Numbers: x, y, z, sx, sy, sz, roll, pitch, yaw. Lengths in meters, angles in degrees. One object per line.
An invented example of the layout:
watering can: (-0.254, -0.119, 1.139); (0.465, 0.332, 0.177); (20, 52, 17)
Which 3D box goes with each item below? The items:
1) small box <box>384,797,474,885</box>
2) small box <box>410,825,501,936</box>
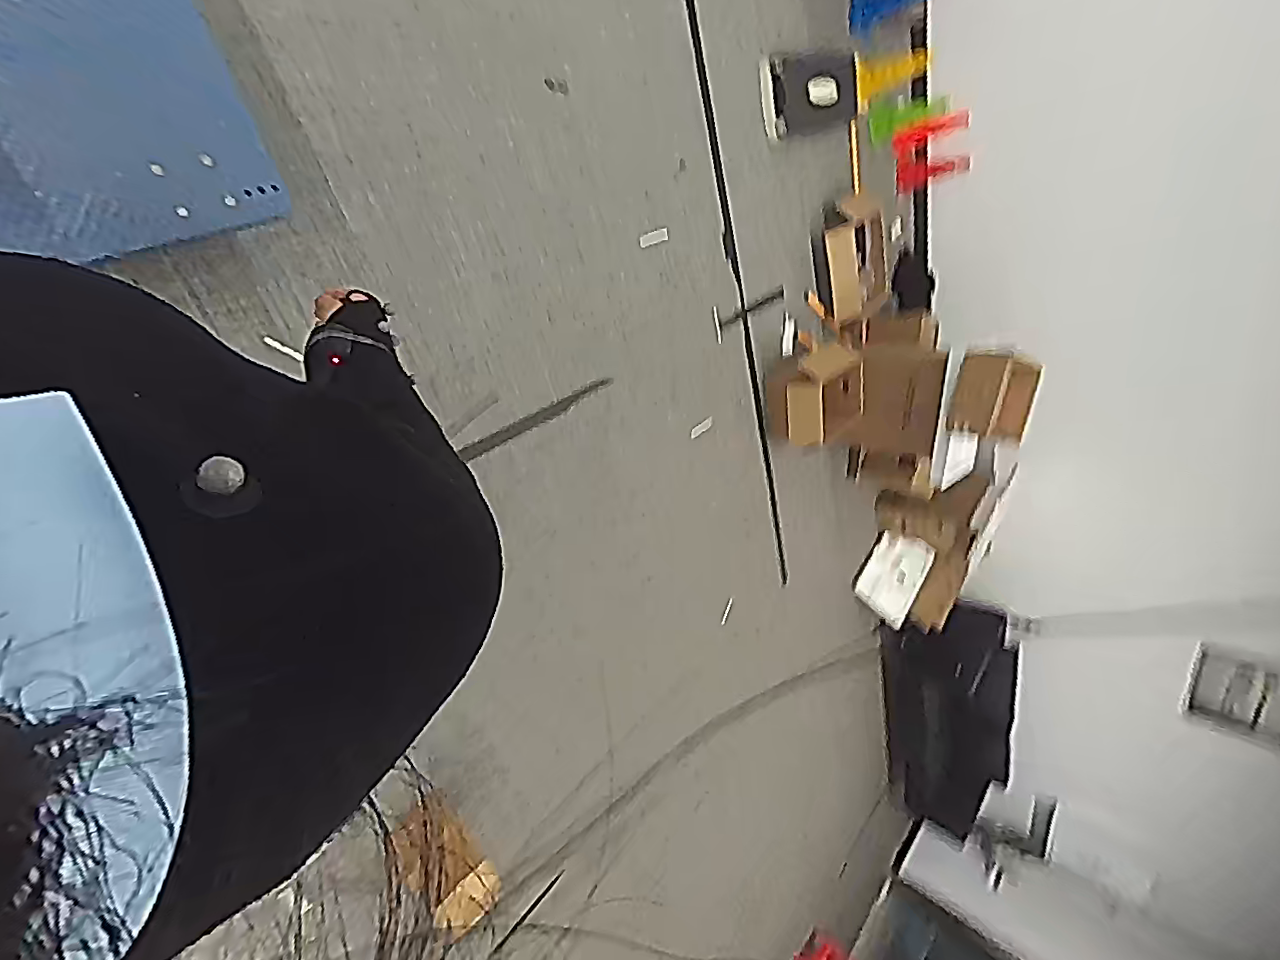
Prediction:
small box: (-0.666, 1.145, 1.706); (0.168, 0.176, 0.179); (-47, 130, -27)
small box: (-0.546, 1.176, 1.601); (0.168, 0.176, 0.179); (-35, 123, -34)
